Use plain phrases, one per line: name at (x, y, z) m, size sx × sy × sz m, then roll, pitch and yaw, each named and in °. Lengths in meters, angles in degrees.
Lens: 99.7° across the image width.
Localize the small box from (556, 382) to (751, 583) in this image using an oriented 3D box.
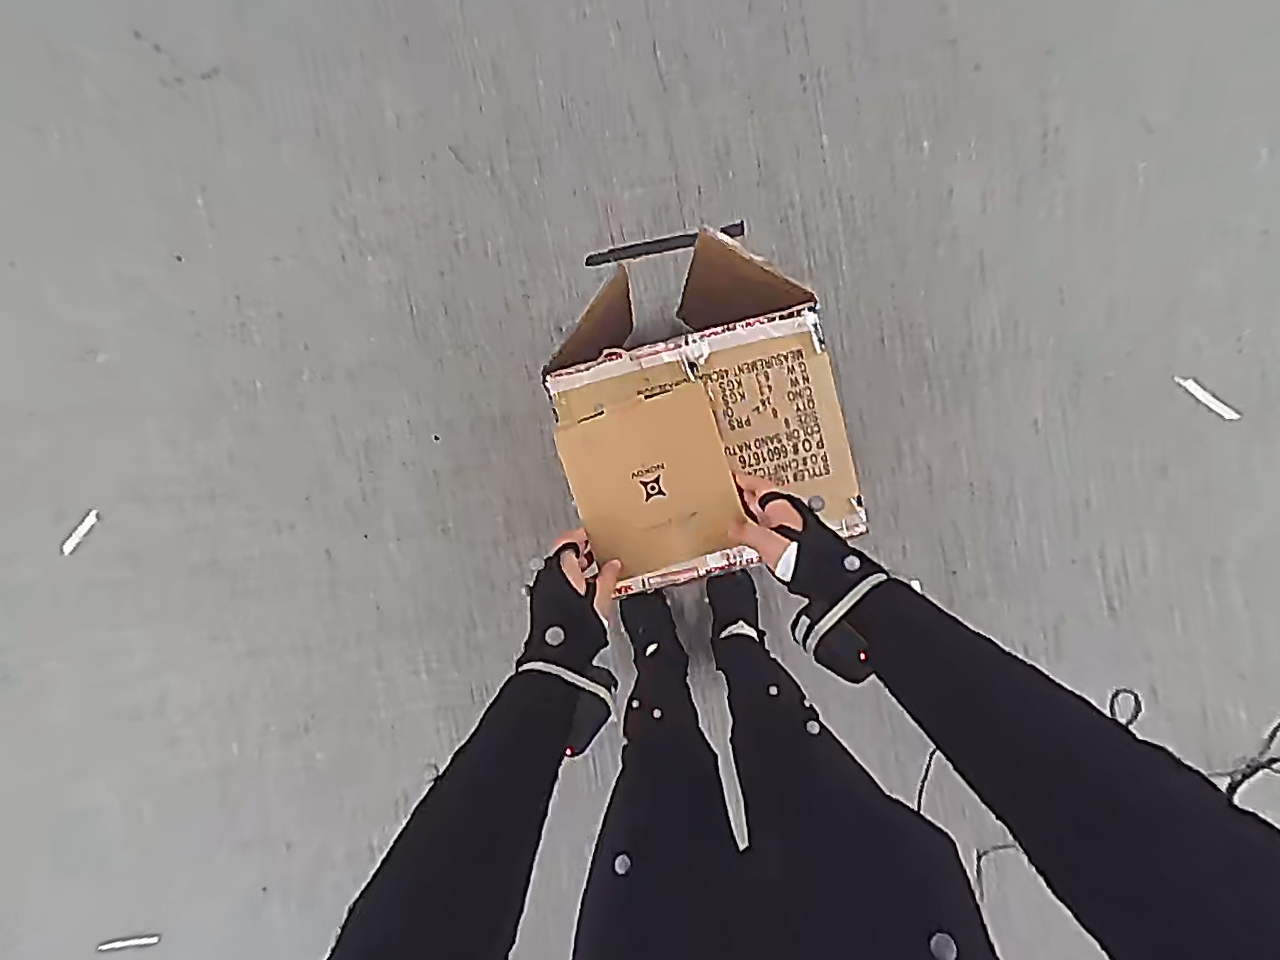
small box at (0.018, -0.002, 0.642) m, size 0.168 × 0.176 × 0.179 m, roll -19°, pitch 94°, yaw 6°
